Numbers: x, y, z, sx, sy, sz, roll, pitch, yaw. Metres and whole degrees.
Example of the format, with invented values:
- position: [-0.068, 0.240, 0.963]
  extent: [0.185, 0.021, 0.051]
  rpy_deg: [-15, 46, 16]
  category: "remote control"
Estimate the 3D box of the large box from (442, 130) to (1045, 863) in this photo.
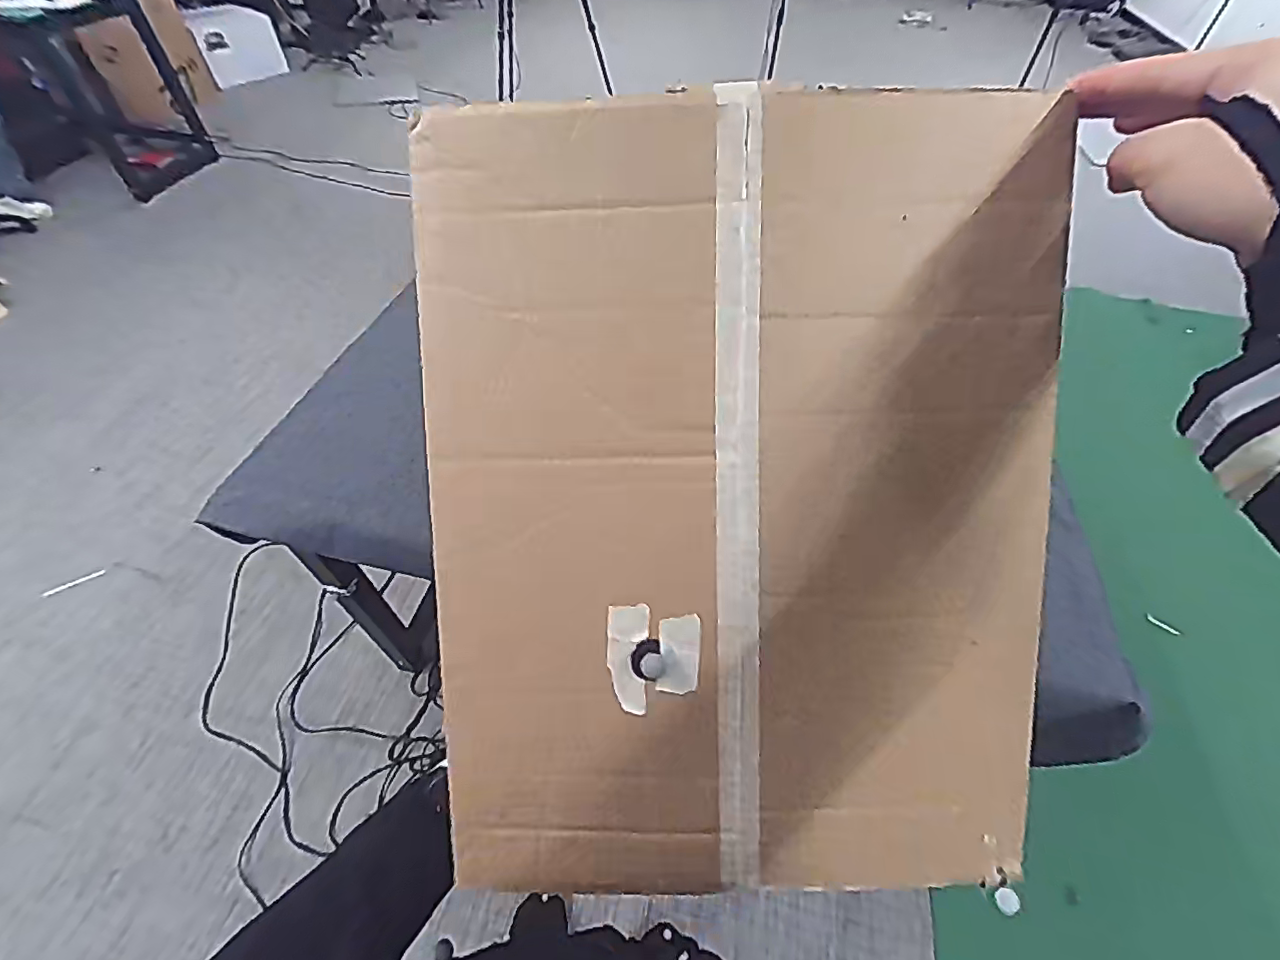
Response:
- position: [0.059, 0.004, 0.444]
  extent: [0.320, 0.408, 0.320]
  rpy_deg: [-2, 8, 0]
  category: "large box"
